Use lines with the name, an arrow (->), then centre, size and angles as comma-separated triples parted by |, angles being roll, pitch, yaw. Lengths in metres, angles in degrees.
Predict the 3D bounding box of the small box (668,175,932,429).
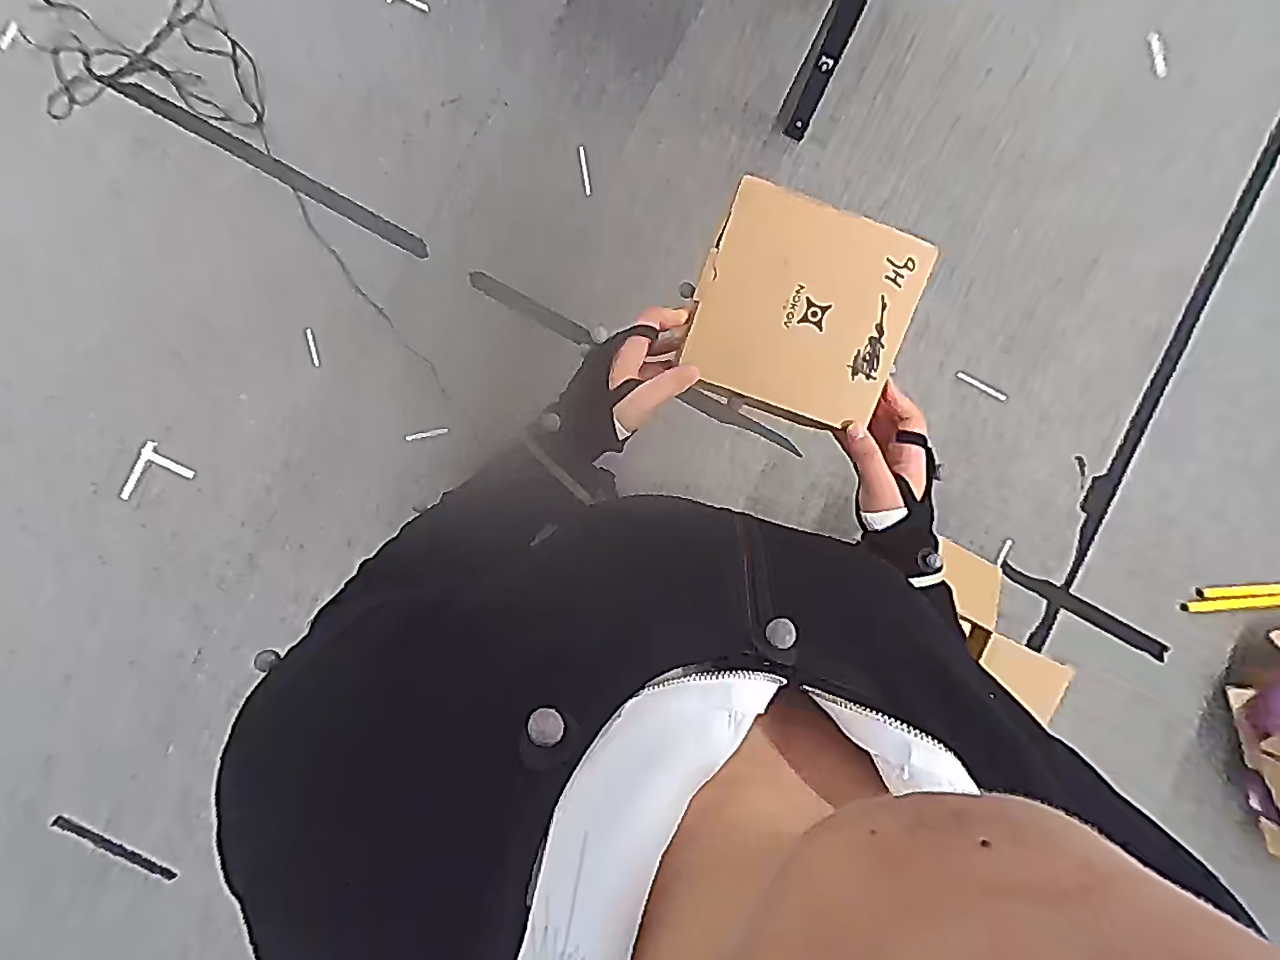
small box -> 0.133, -0.156, 0.529 | 0.179, 0.176, 0.168 | 19, 98, -3
